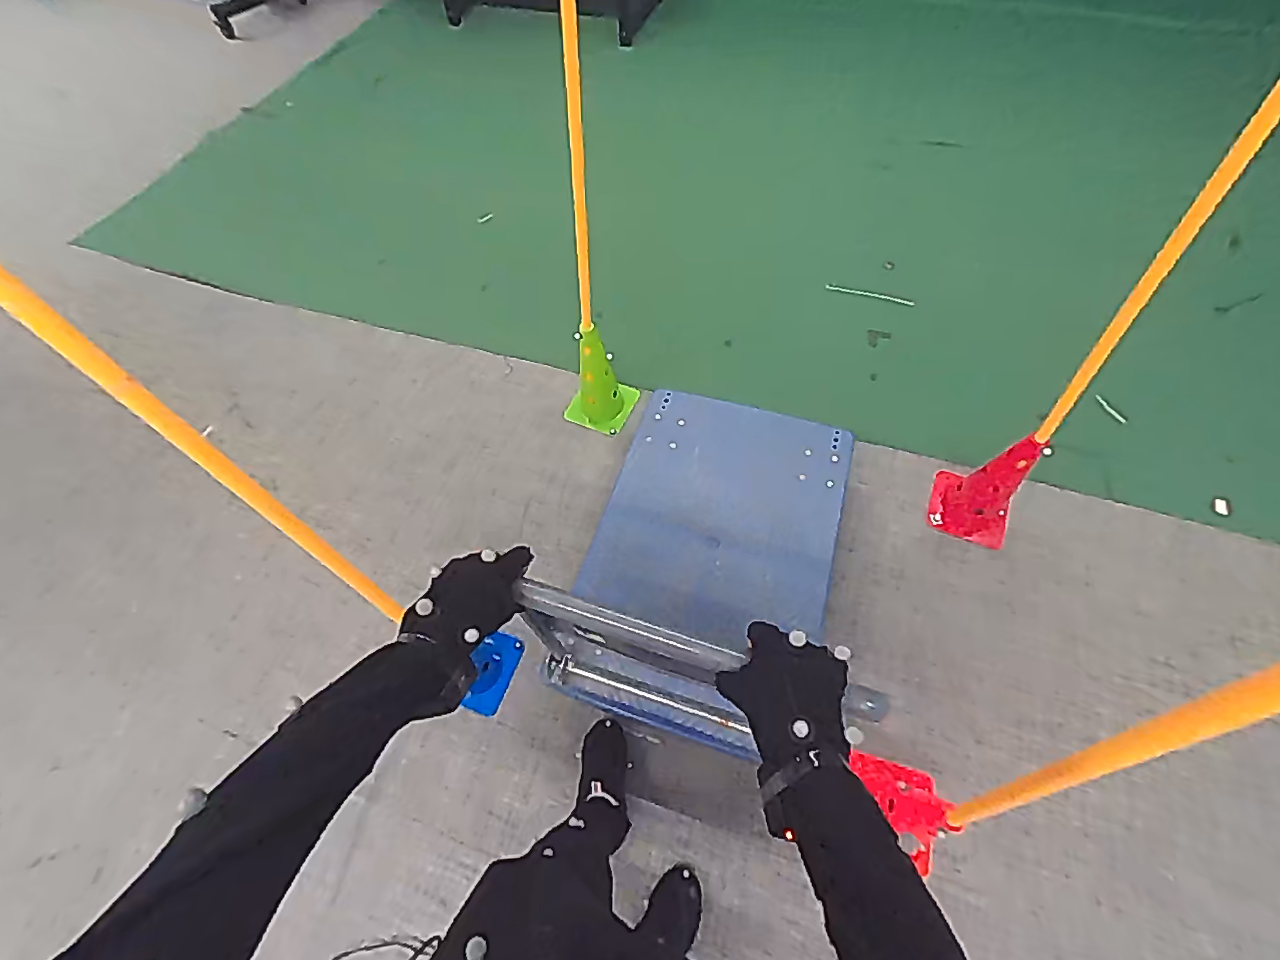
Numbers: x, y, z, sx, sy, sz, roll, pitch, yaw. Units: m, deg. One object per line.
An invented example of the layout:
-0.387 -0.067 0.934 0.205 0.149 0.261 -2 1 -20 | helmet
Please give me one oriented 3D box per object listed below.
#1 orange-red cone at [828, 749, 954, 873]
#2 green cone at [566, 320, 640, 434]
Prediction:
0.516 0.640 1.051 0.199 0.360 0.198 15 62 14 | orange-red cone
-0.135 -0.339 1.649 0.202 0.368 0.200 20 63 15 | green cone
